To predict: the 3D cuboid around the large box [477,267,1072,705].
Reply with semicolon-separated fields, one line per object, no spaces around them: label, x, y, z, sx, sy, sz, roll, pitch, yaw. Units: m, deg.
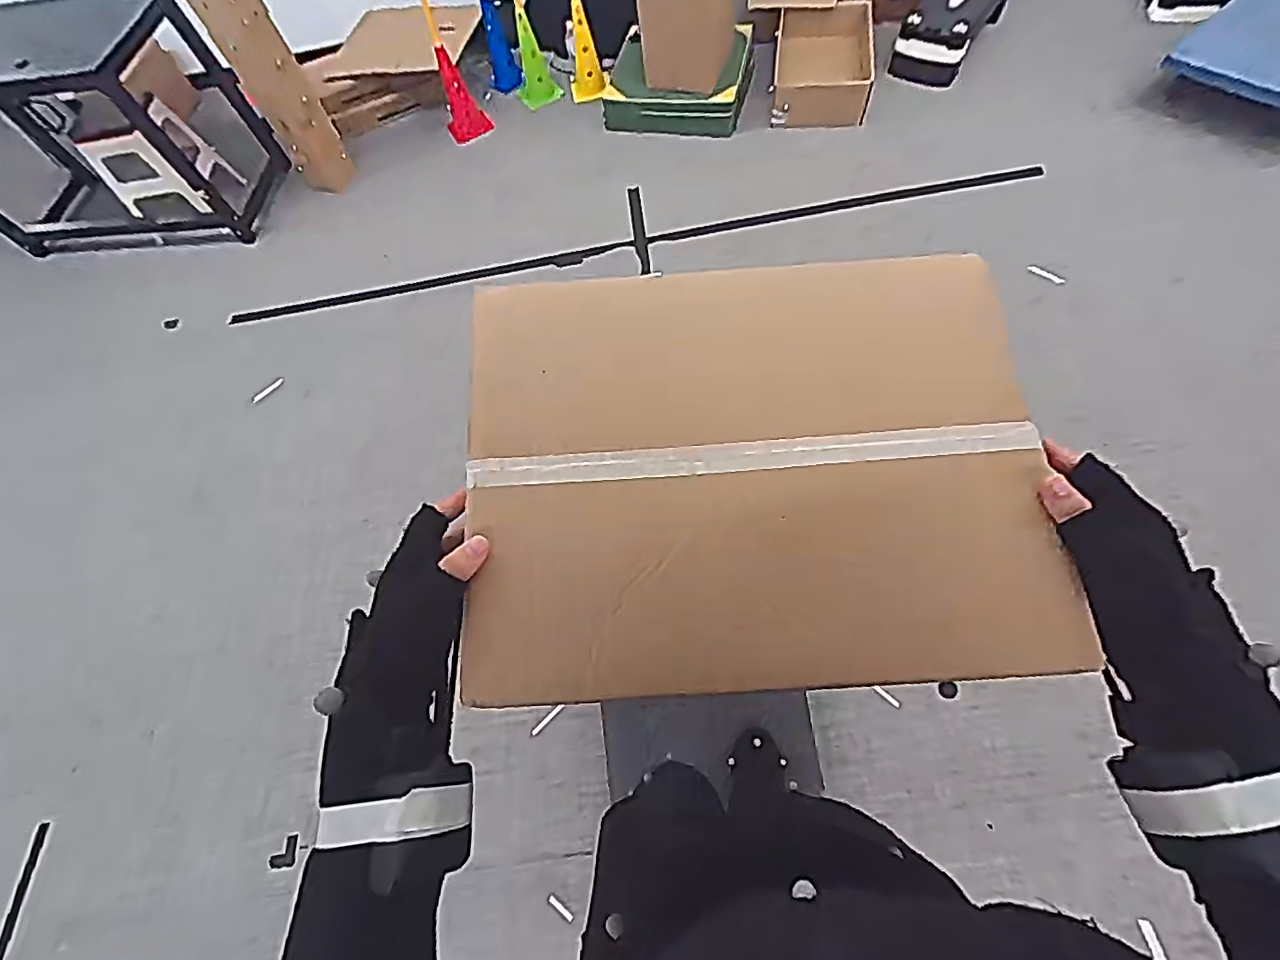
large box;0.085;0.028;0.540;0.408;0.320;0.320;-3;73;0
